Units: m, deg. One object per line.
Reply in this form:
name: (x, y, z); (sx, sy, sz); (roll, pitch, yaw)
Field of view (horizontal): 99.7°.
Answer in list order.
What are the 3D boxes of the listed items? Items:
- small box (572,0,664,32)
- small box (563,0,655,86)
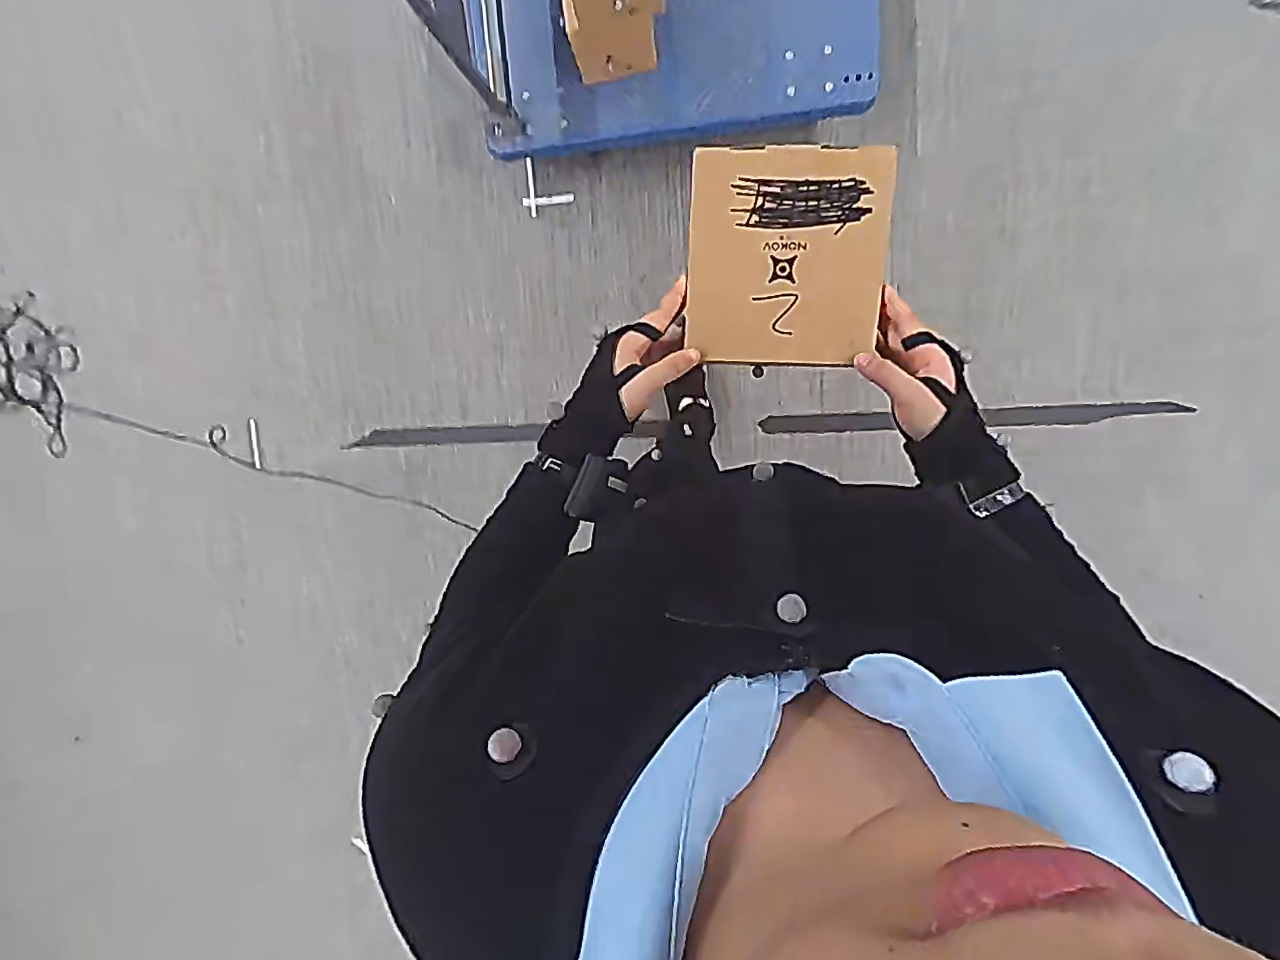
small box: (-0.052, -0.934, 0.932); (0.168, 0.176, 0.179); (-7, 97, 6)
small box: (-0.063, -0.953, 1.097); (0.168, 0.176, 0.179); (-7, 97, 6)
